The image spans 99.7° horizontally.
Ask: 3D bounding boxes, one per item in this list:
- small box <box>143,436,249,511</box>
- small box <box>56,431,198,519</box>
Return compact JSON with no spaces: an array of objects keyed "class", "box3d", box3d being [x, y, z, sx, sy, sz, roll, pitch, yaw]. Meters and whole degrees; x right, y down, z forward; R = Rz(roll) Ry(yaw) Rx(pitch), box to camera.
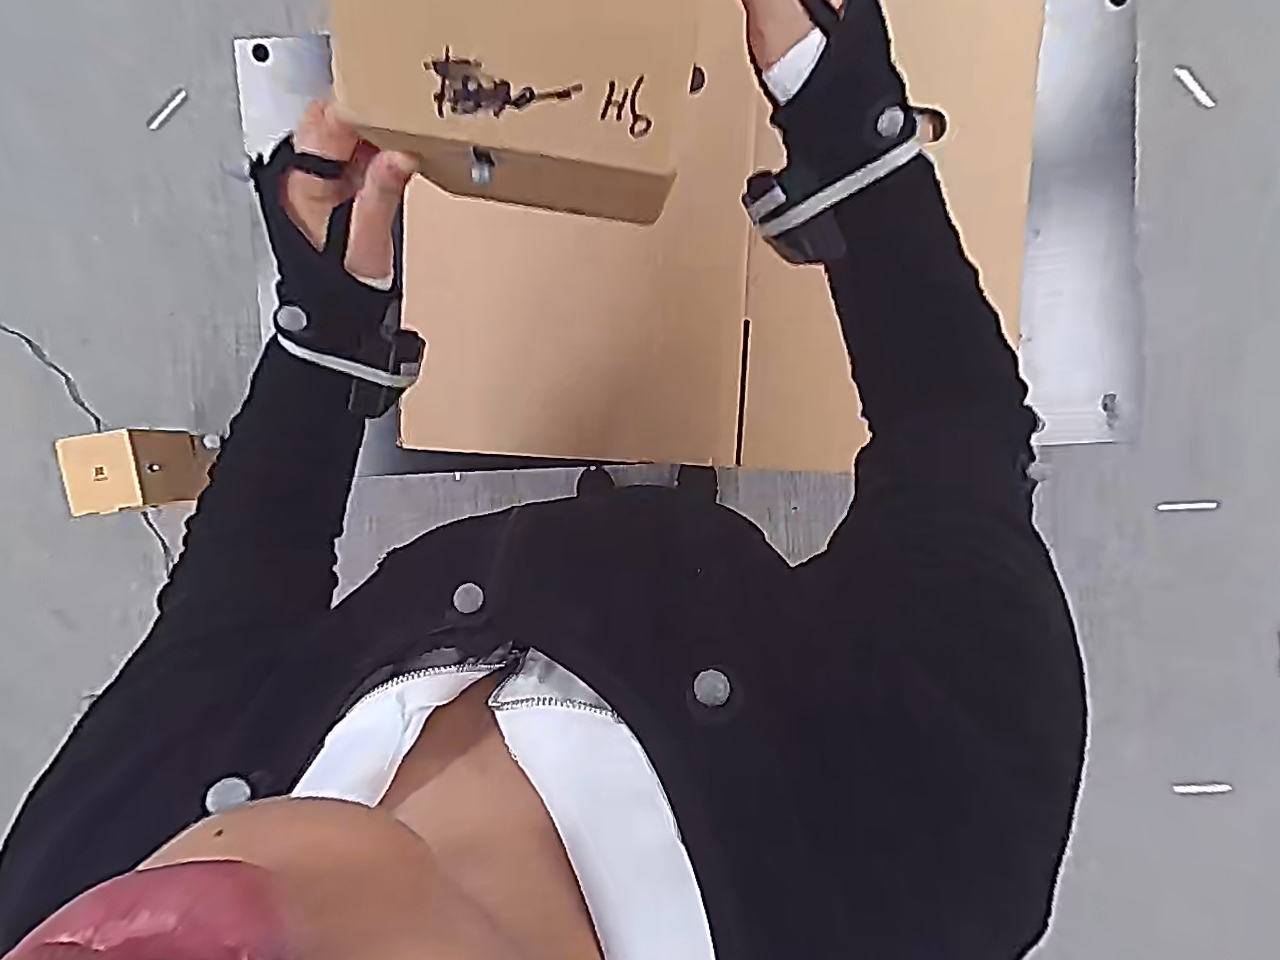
[{"class":"small box","box3d":[-1.183,-0.018,1.430,0.168,0.176,0.179,-7,94,1]},{"class":"small box","box3d":[-1.188,-0.015,1.268,0.168,0.176,0.179,-10,92,1]}]
